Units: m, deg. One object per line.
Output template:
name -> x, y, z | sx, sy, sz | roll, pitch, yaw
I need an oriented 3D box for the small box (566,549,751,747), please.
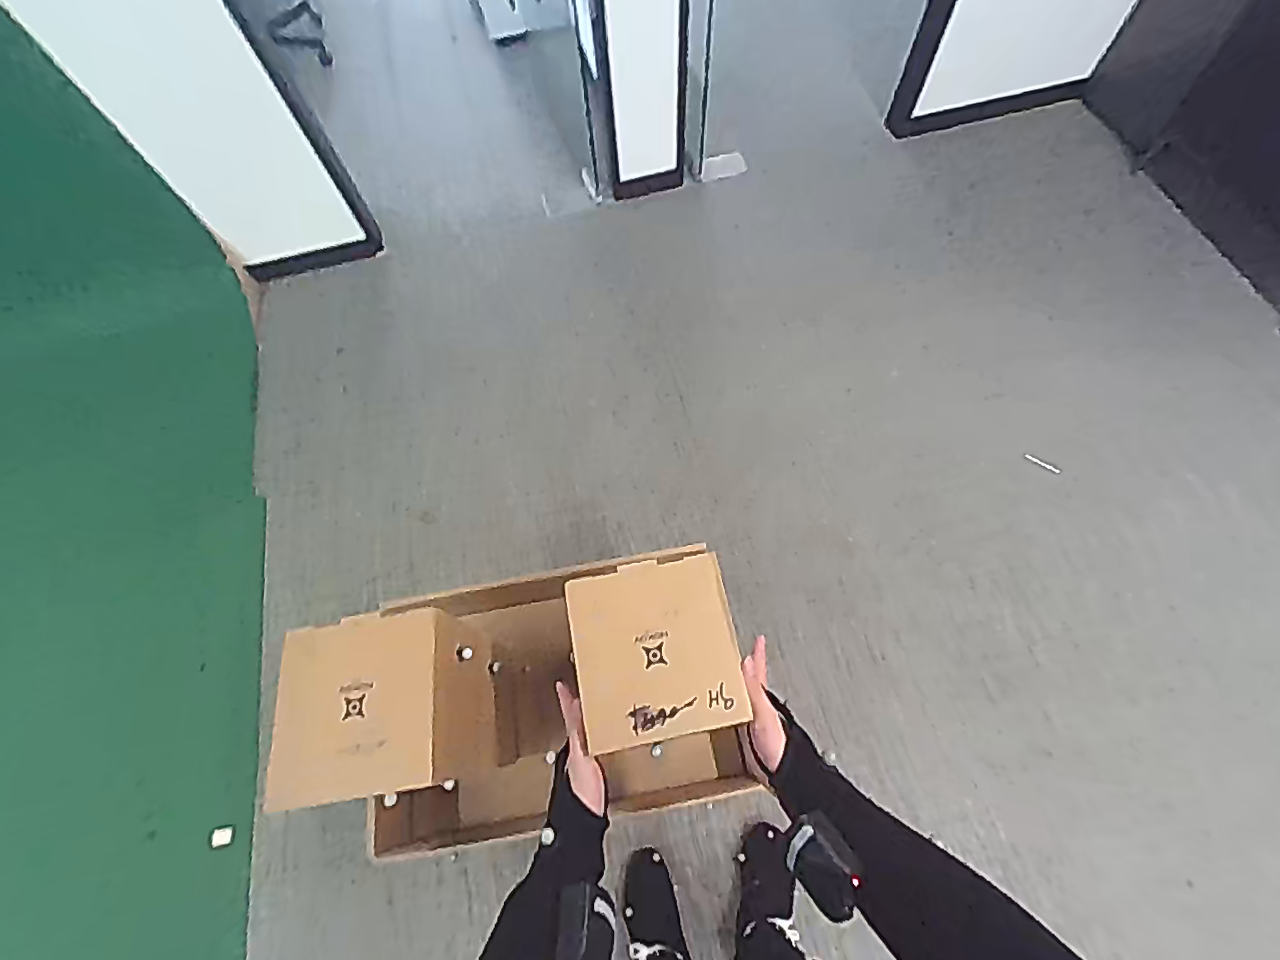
small box -> 0.016, 0.201, 0.626 | 0.168, 0.176, 0.179 | -11, 64, -2

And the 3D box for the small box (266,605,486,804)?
small box -> -0.287, 0.259, 0.630 | 0.168, 0.176, 0.179 | -9, 65, 1

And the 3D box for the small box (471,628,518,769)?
small box -> -0.279, 0.324, 0.781 | 0.168, 0.176, 0.179 | -9, 66, 0
